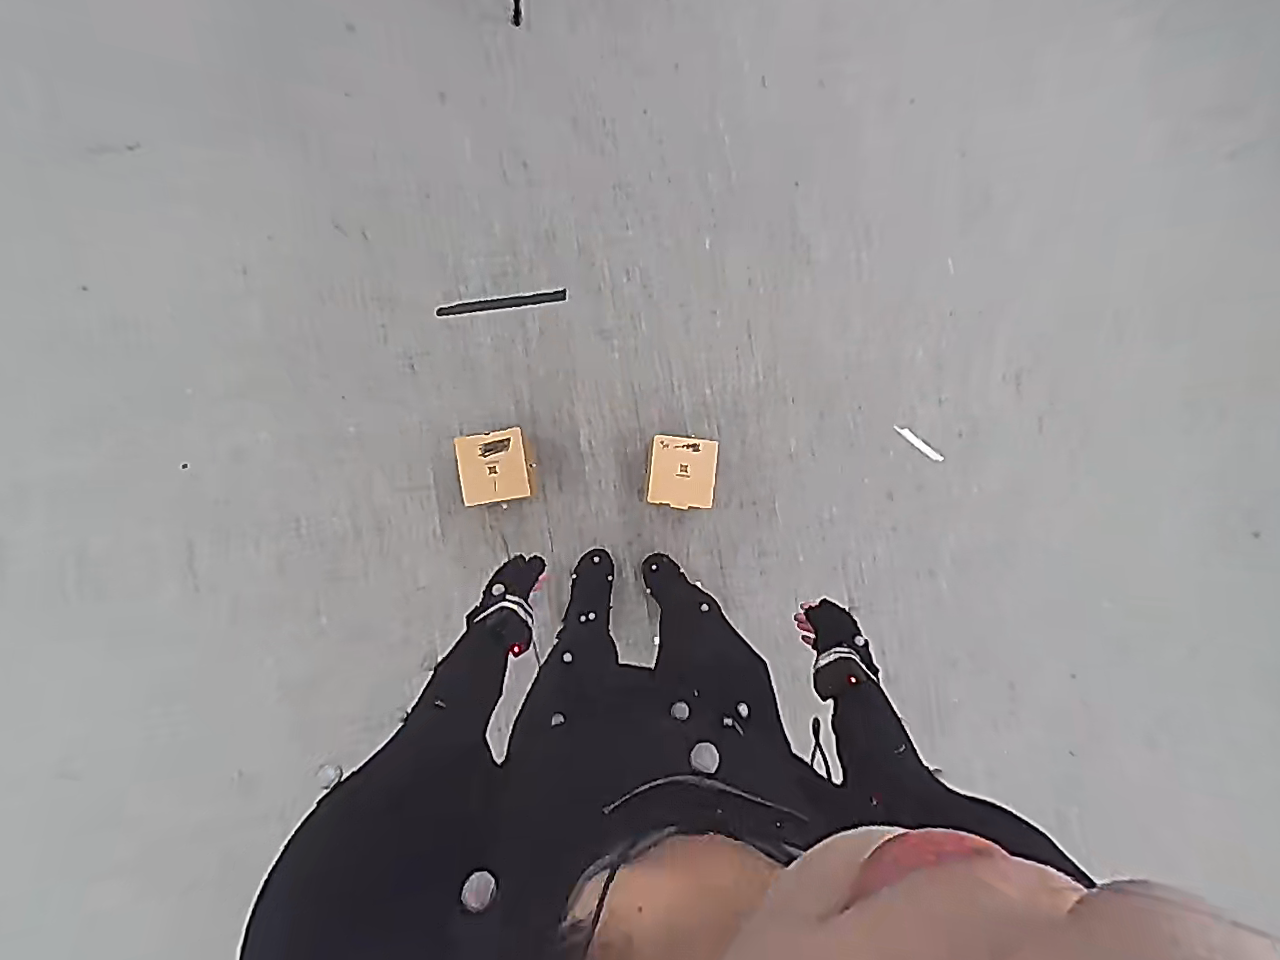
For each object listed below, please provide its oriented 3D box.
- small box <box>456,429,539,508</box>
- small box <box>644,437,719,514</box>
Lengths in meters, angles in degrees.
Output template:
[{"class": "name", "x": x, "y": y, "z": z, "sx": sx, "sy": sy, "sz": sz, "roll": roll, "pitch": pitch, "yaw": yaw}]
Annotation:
[{"class": "small box", "x": -0.364, "y": -0.024, "z": 1.402, "sx": 0.168, "sy": 0.176, "sz": 0.179, "roll": -9, "pitch": 88, "yaw": -3}, {"class": "small box", "x": 0.104, "y": -0.009, "z": 1.427, "sx": 0.168, "sy": 0.176, "sz": 0.179, "roll": 7, "pitch": 87, "yaw": -3}]
